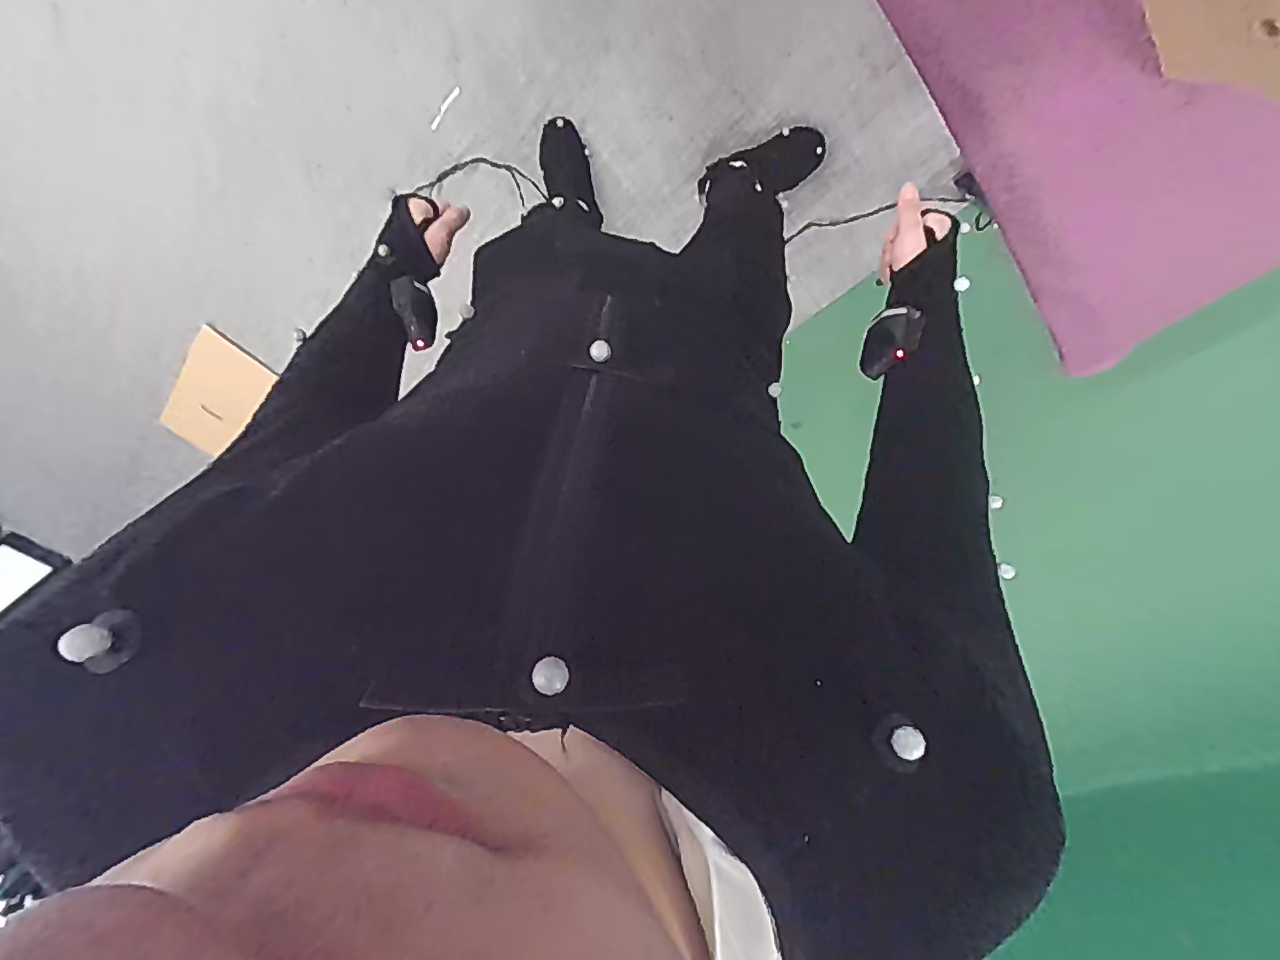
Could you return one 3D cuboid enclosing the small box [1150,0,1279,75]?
[{"bbox_3d":[0.531,-0.454,0.415,0.168,0.176,0.179,-32,118,32],"label":"small box"}]
